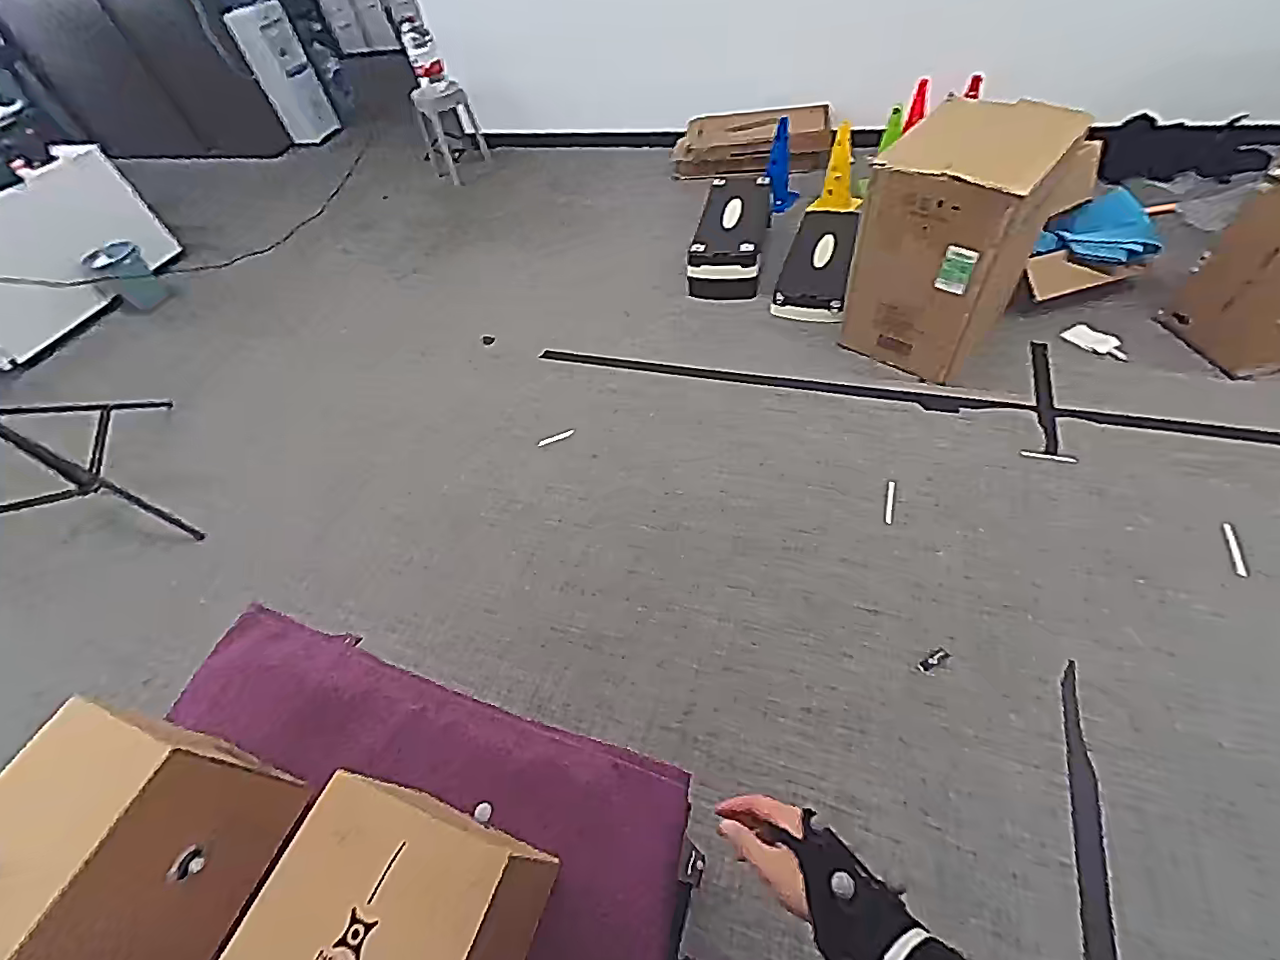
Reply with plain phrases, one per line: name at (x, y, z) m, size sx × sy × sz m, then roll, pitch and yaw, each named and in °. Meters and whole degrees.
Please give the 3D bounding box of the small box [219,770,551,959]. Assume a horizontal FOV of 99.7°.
small box at (-0.189, 0.365, 0.429) m, size 0.168 × 0.176 × 0.179 m, roll 14°, pitch 56°, yaw 17°
